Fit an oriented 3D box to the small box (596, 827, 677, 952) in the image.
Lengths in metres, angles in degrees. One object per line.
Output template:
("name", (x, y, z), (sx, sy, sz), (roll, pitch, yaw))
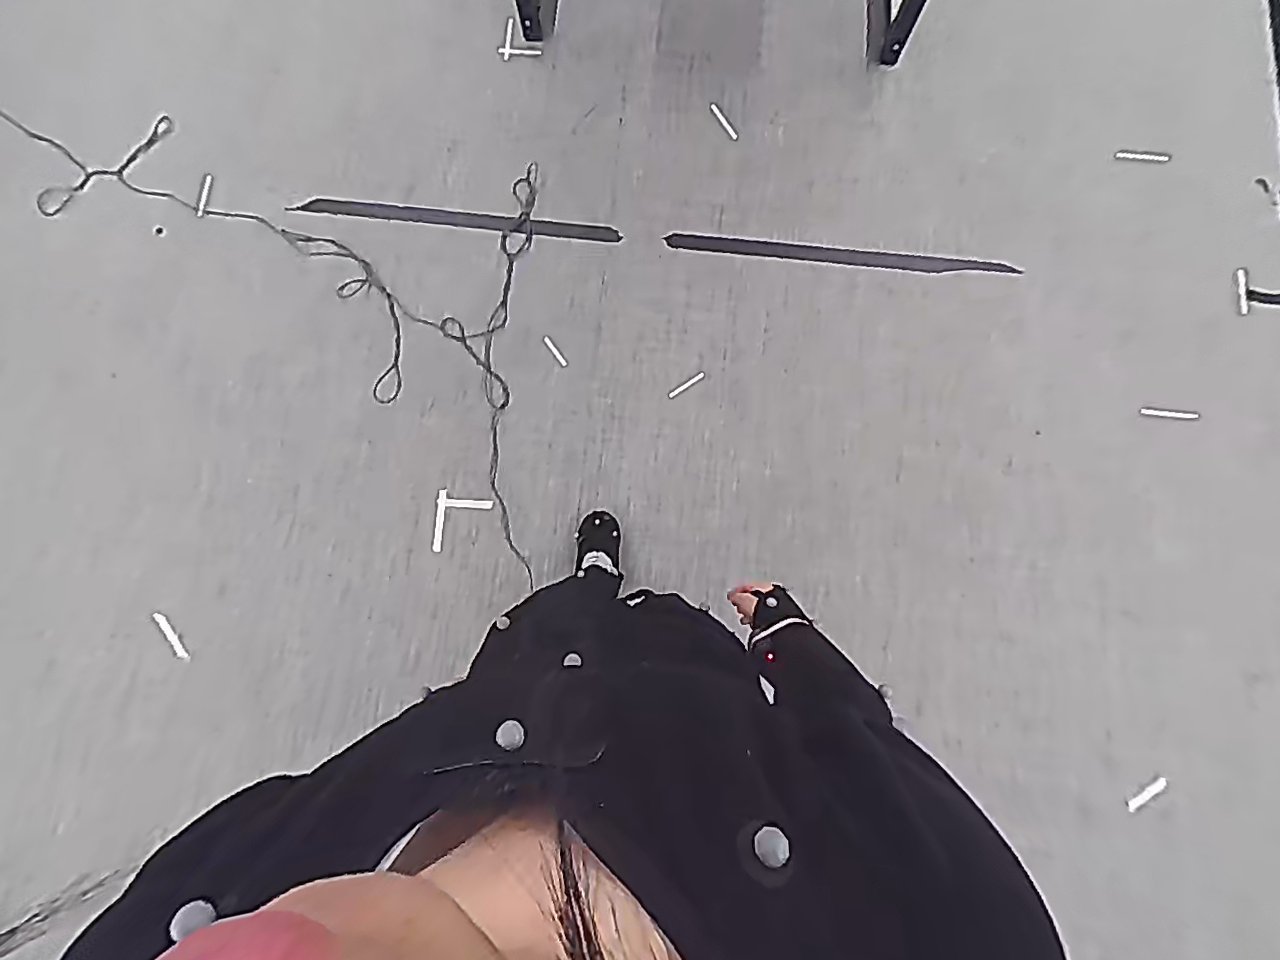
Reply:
("small box", (-0.008, 0.971, 1.299), (0.168, 0.176, 0.179), (7, 81, 2))
